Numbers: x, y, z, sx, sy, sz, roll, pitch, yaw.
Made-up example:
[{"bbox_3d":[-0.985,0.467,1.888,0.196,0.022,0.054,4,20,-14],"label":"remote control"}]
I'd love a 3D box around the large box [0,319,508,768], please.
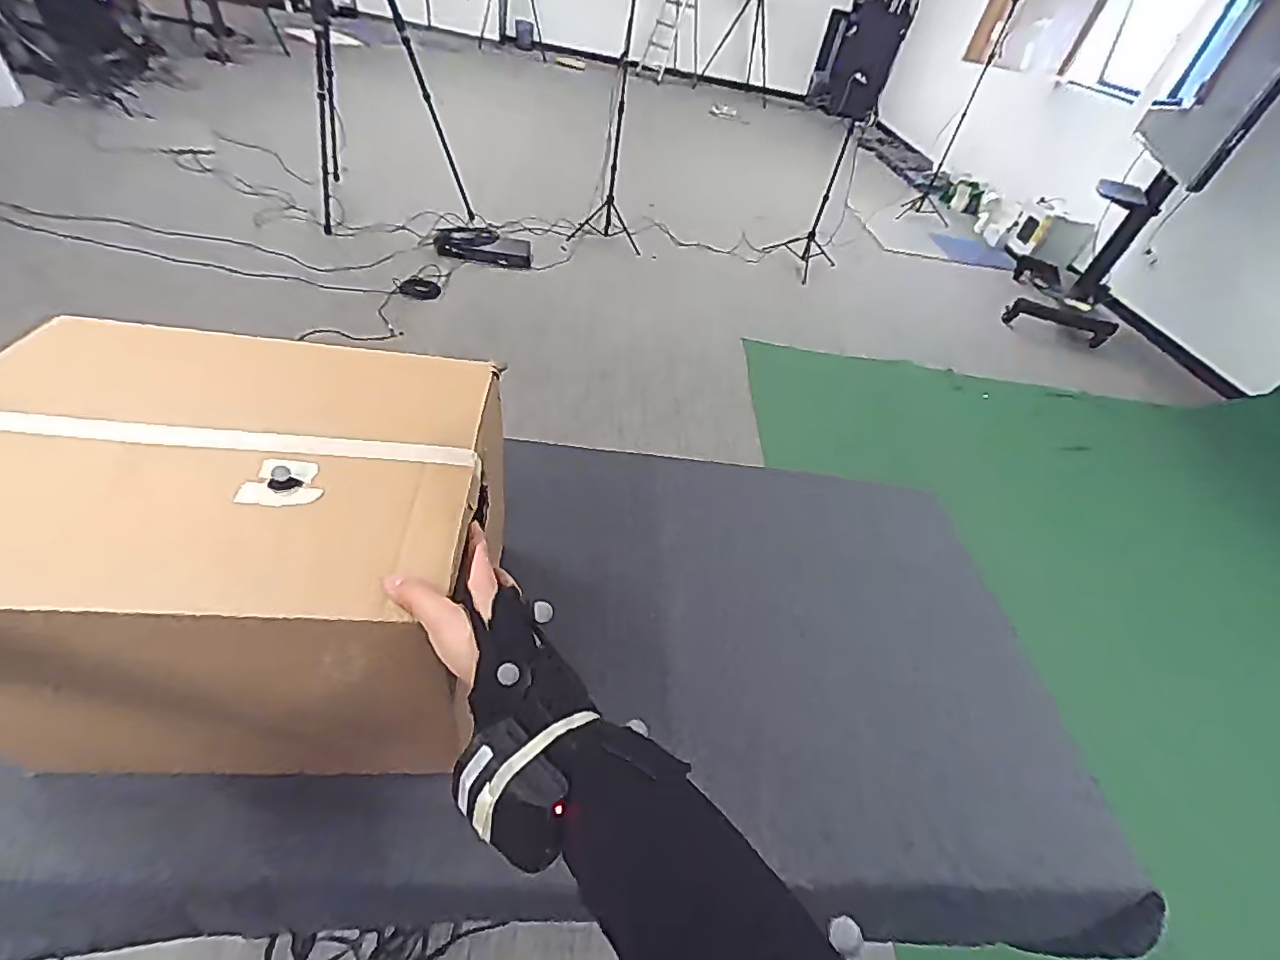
[{"bbox_3d":[-0.356,0.073,0.546,0.408,0.320,0.320,5,45,-10],"label":"large box"}]
